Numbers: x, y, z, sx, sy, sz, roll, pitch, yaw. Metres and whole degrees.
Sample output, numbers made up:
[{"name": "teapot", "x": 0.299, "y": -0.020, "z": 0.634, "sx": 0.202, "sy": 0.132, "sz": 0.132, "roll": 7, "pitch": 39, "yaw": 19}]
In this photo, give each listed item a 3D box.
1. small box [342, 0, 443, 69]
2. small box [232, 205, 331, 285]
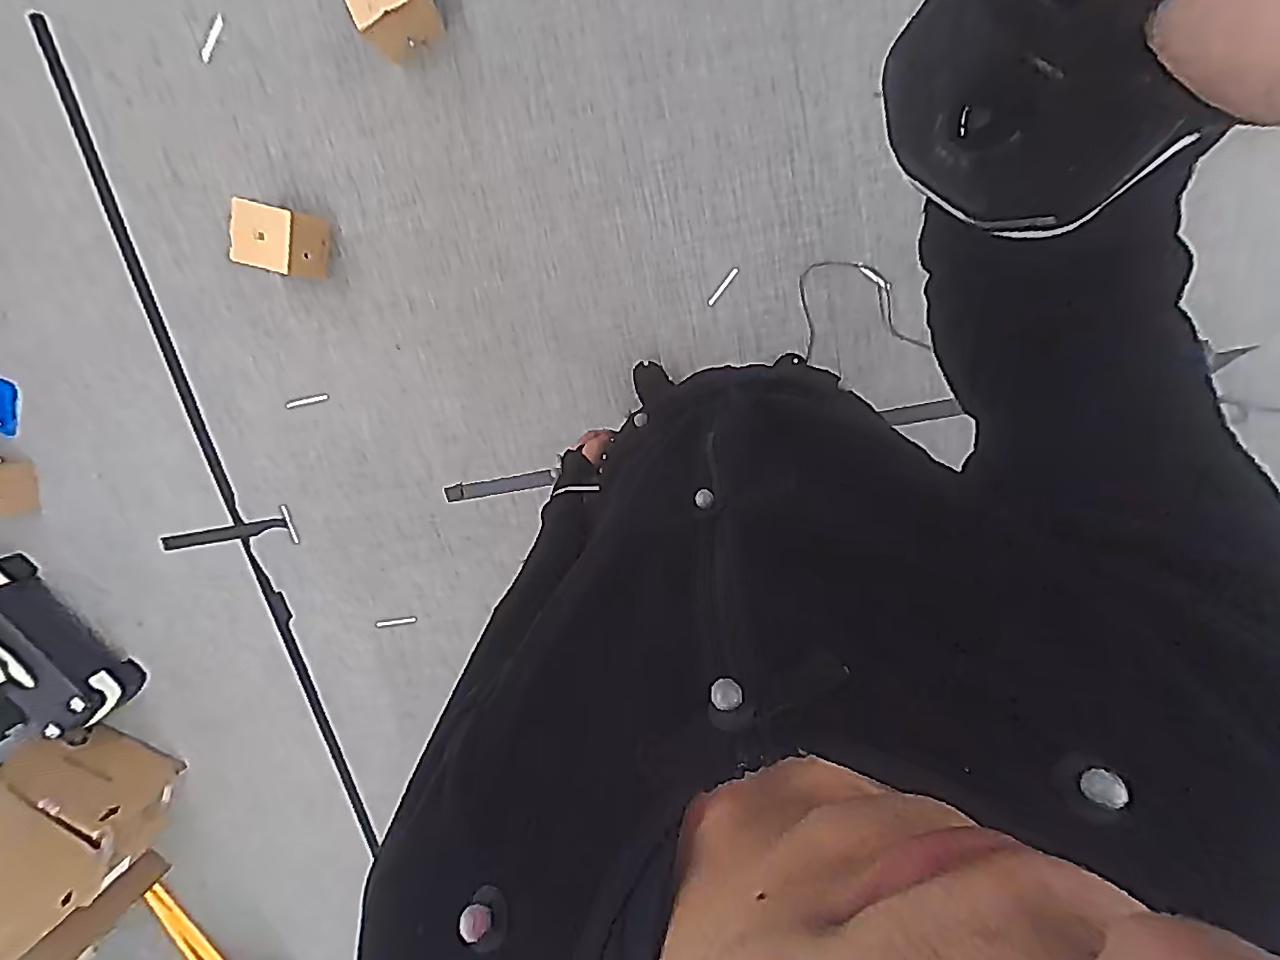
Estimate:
[{"name": "small box", "x": -0.633, "y": -1.199, "z": 1.362, "sx": 0.168, "sy": 0.176, "sz": 0.179, "roll": -21, "pitch": 101, "yaw": 12}, {"name": "small box", "x": -1.018, "y": -0.663, "z": 1.546, "sx": 0.179, "sy": 0.176, "sz": 0.168, "roll": 15, "pitch": 105, "yaw": 4}]
